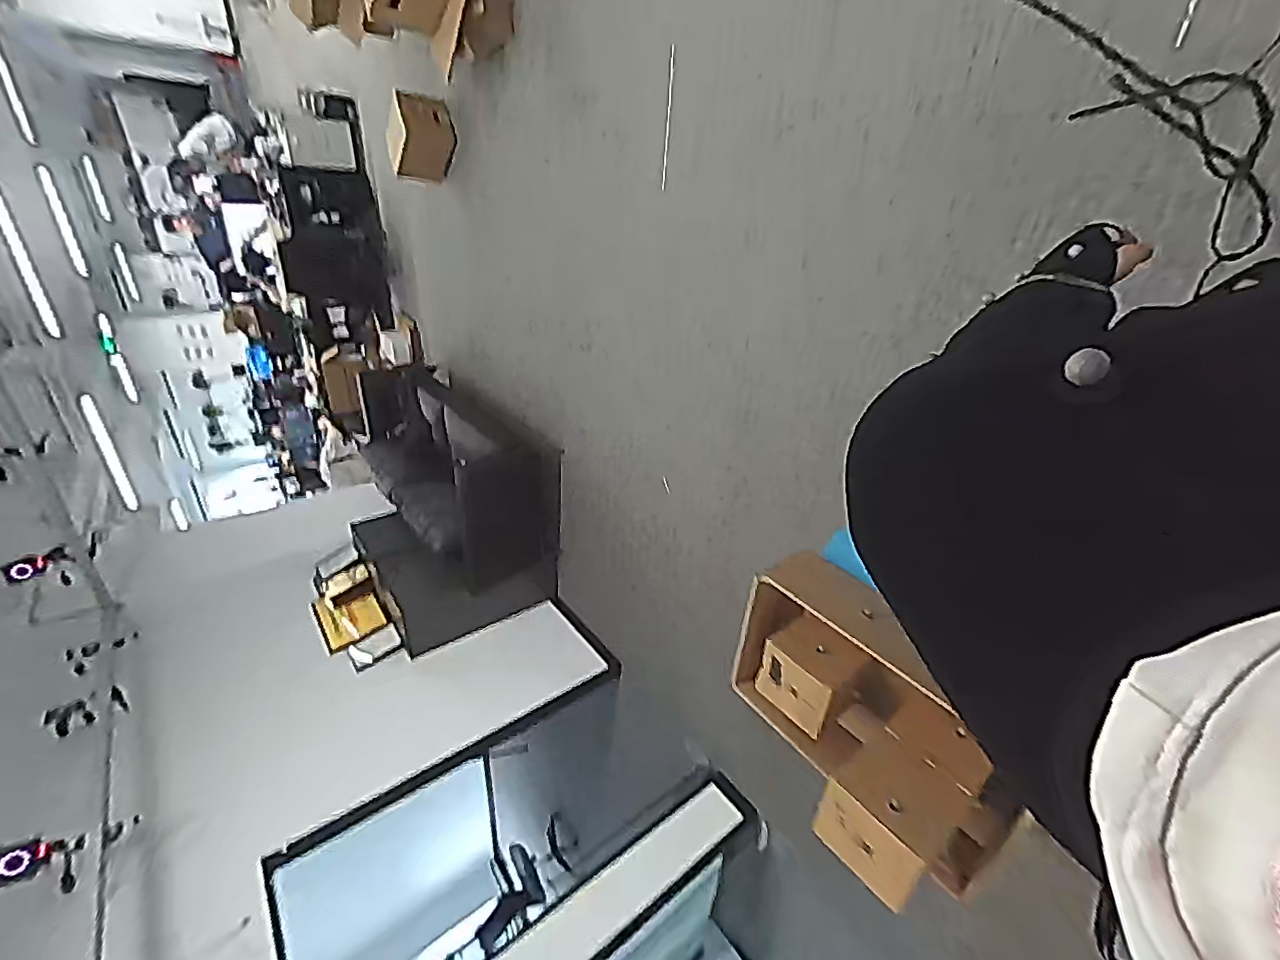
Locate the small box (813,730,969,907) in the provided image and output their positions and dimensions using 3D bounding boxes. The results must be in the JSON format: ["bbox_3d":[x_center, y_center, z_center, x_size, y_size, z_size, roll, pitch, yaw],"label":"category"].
[{"bbox_3d":[0.448,0.594,0.971,0.179,0.176,0.168,35,131,43],"label":"small box"}]
